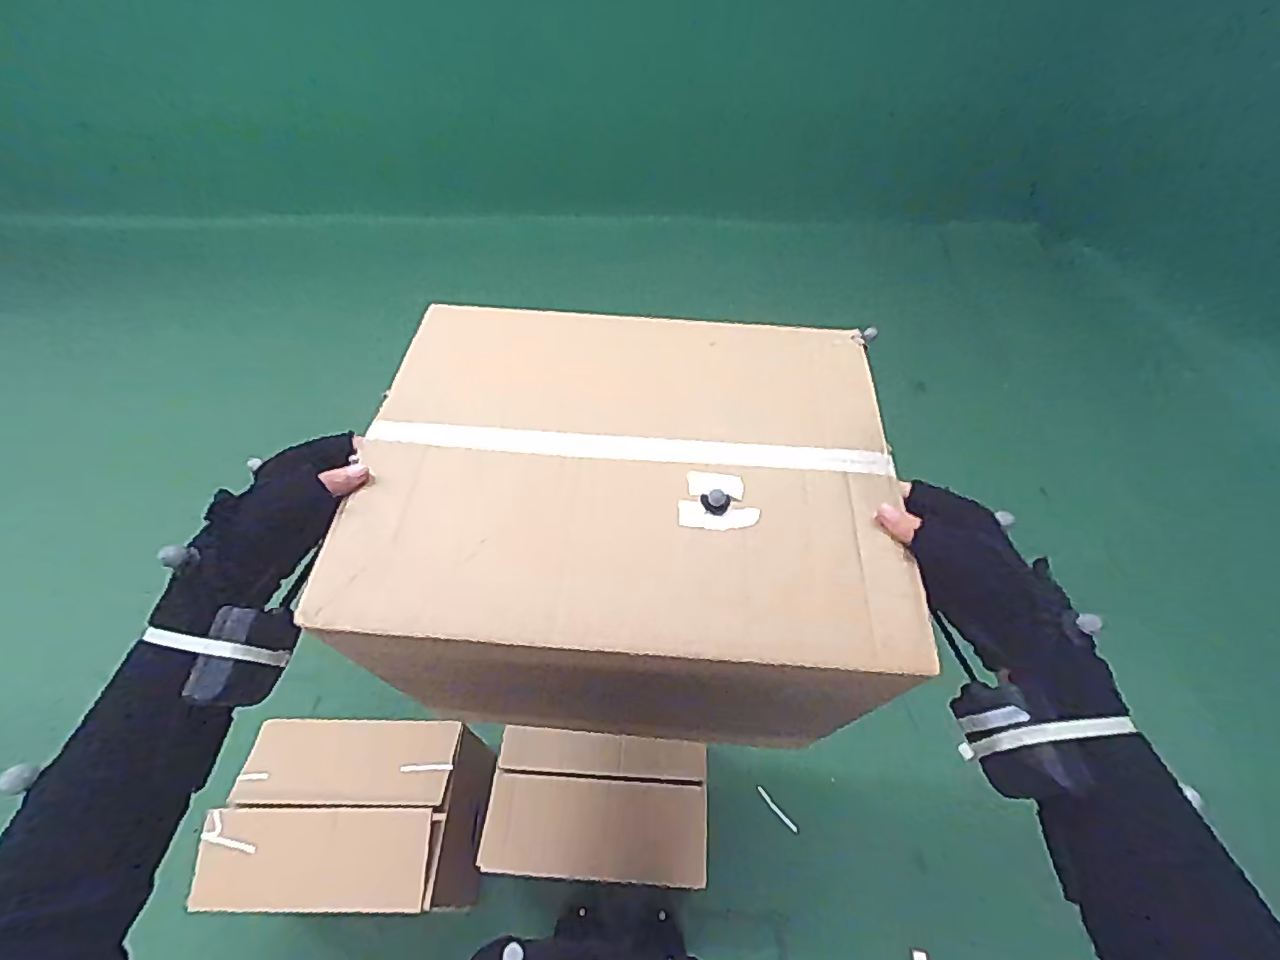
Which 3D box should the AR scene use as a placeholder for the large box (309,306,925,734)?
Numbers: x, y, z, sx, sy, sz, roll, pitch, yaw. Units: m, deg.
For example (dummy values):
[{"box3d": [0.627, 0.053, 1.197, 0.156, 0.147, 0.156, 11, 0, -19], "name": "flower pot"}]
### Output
[{"box3d": [-0.013, 0.056, 0.547, 0.408, 0.320, 0.320, 4, 57, 0], "name": "large box"}]
